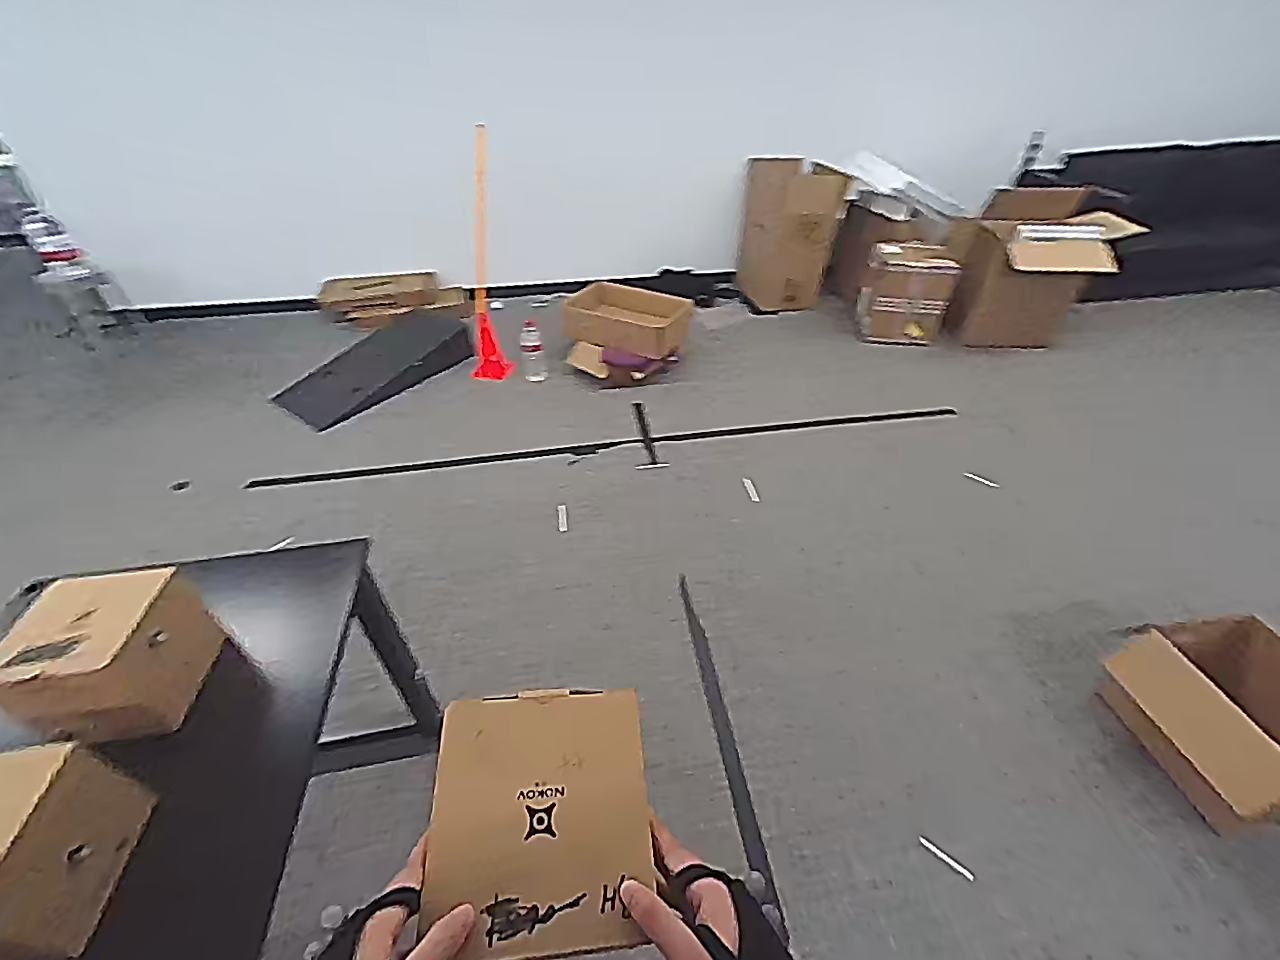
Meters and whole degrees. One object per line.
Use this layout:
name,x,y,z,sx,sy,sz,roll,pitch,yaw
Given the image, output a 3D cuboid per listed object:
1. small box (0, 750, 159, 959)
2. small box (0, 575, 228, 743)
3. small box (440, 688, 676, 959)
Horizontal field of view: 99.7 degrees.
small box,-0.712,0.434,0.609,0.179,0.176,0.168,-6,40,-6
small box,-0.766,0.269,0.805,0.168,0.176,0.179,-6,40,-6
small box,-0.068,0.309,0.487,0.168,0.176,0.179,-1,48,-6
